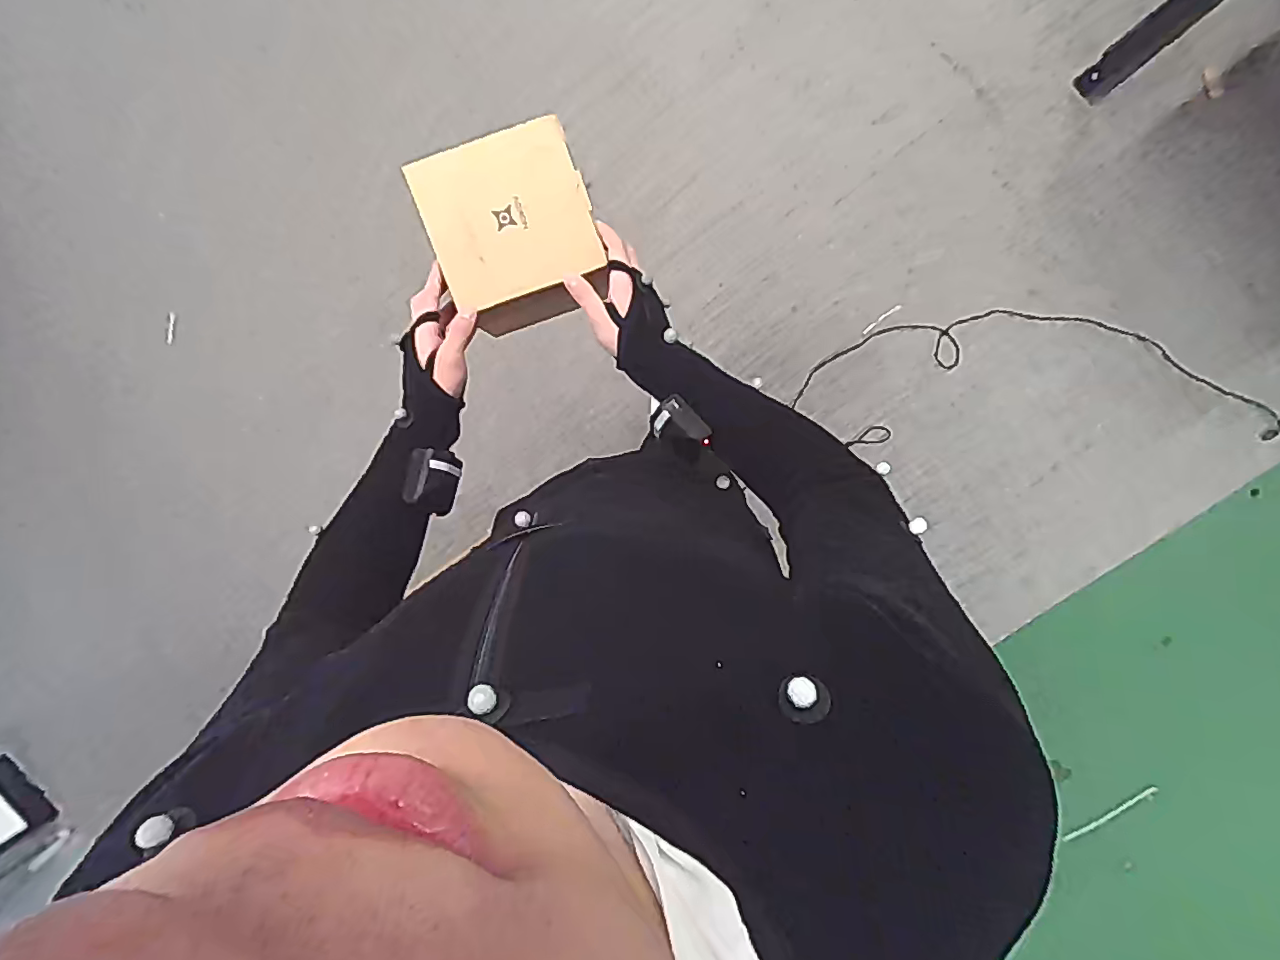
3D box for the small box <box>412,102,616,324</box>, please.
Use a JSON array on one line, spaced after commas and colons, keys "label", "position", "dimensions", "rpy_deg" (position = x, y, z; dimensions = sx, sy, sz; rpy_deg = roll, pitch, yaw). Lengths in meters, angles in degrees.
[{"label": "small box", "position": [-0.136, -0.302, 0.650], "dimensions": [0.179, 0.176, 0.168], "rpy_deg": [-18, 97, 0]}]
